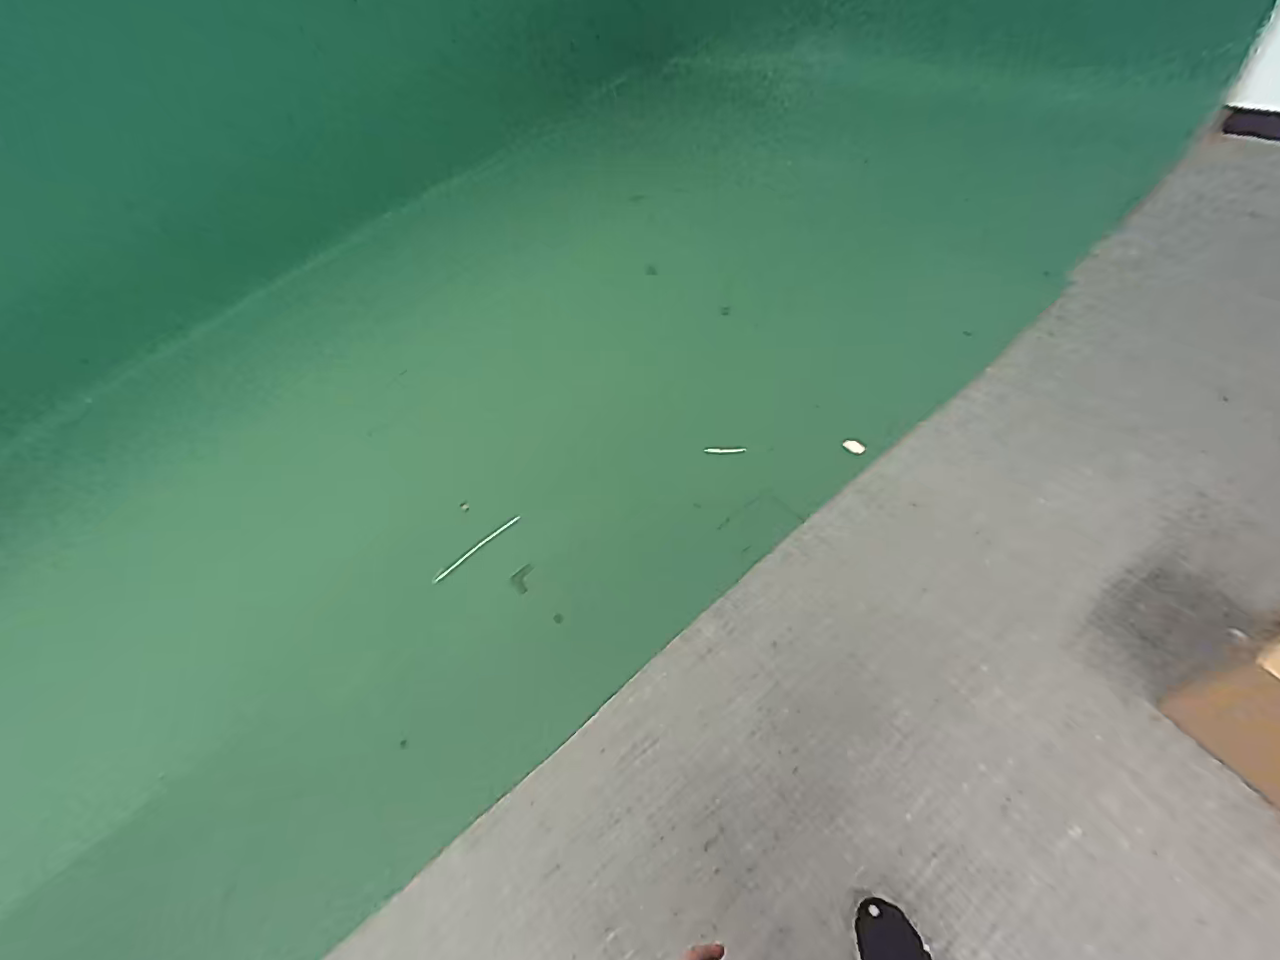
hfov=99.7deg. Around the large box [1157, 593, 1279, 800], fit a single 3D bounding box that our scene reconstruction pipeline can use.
[{"bbox_3d":[1.187,0.386,0.838,0.320,0.320,0.408,-35,54,-7],"label":"large box"}]
